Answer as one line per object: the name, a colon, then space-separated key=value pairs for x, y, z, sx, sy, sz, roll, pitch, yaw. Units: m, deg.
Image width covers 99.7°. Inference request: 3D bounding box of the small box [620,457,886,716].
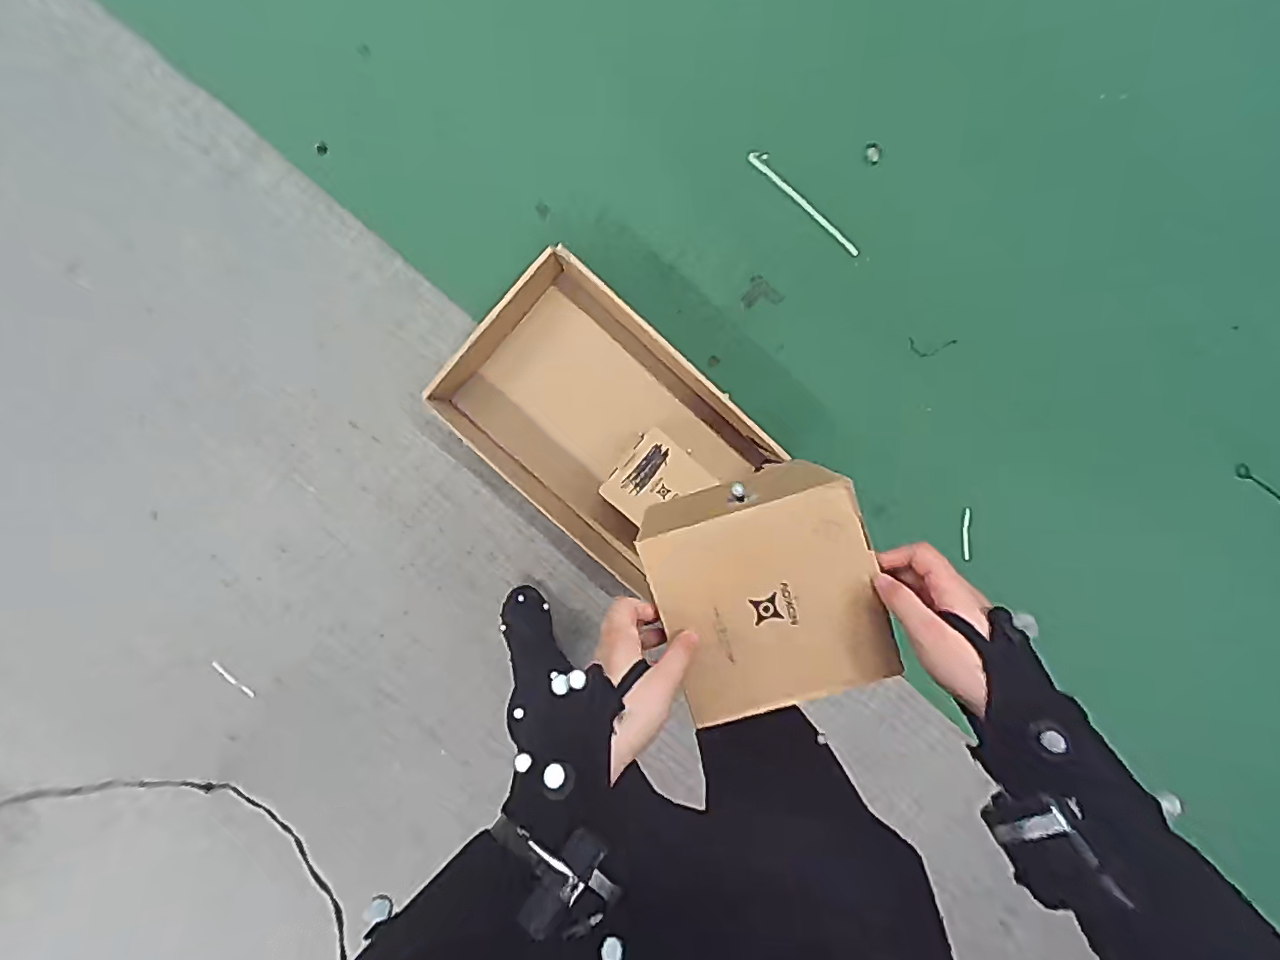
small box: x=0.095 y=0.083 z=0.509 sx=0.179 sy=0.176 sz=0.168 roll=-19 pitch=94 yaw=7
